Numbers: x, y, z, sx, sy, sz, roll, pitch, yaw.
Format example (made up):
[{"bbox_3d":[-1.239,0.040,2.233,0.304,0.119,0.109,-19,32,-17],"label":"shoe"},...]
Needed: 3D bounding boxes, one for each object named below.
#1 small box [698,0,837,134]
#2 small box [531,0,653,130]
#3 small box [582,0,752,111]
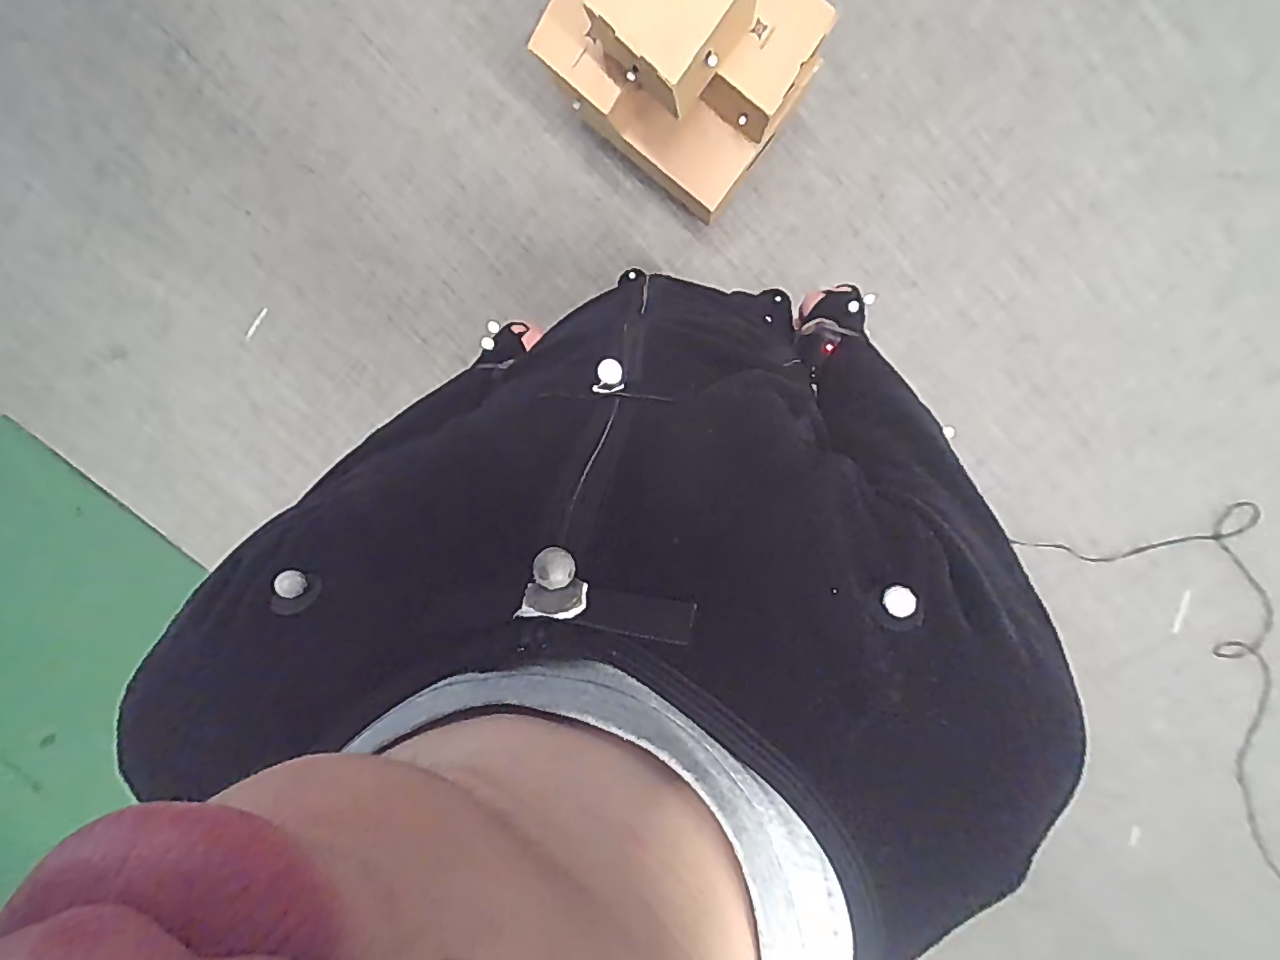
[{"bbox_3d":[0.194,-0.721,0.909,0.179,0.176,0.168,35,107,-5],"label":"small box"},{"bbox_3d":[-0.054,-0.749,0.928,0.168,0.176,0.179,39,112,-8],"label":"small box"},{"bbox_3d":[0.048,-0.673,0.766,0.168,0.176,0.179,40,111,-8],"label":"small box"}]
